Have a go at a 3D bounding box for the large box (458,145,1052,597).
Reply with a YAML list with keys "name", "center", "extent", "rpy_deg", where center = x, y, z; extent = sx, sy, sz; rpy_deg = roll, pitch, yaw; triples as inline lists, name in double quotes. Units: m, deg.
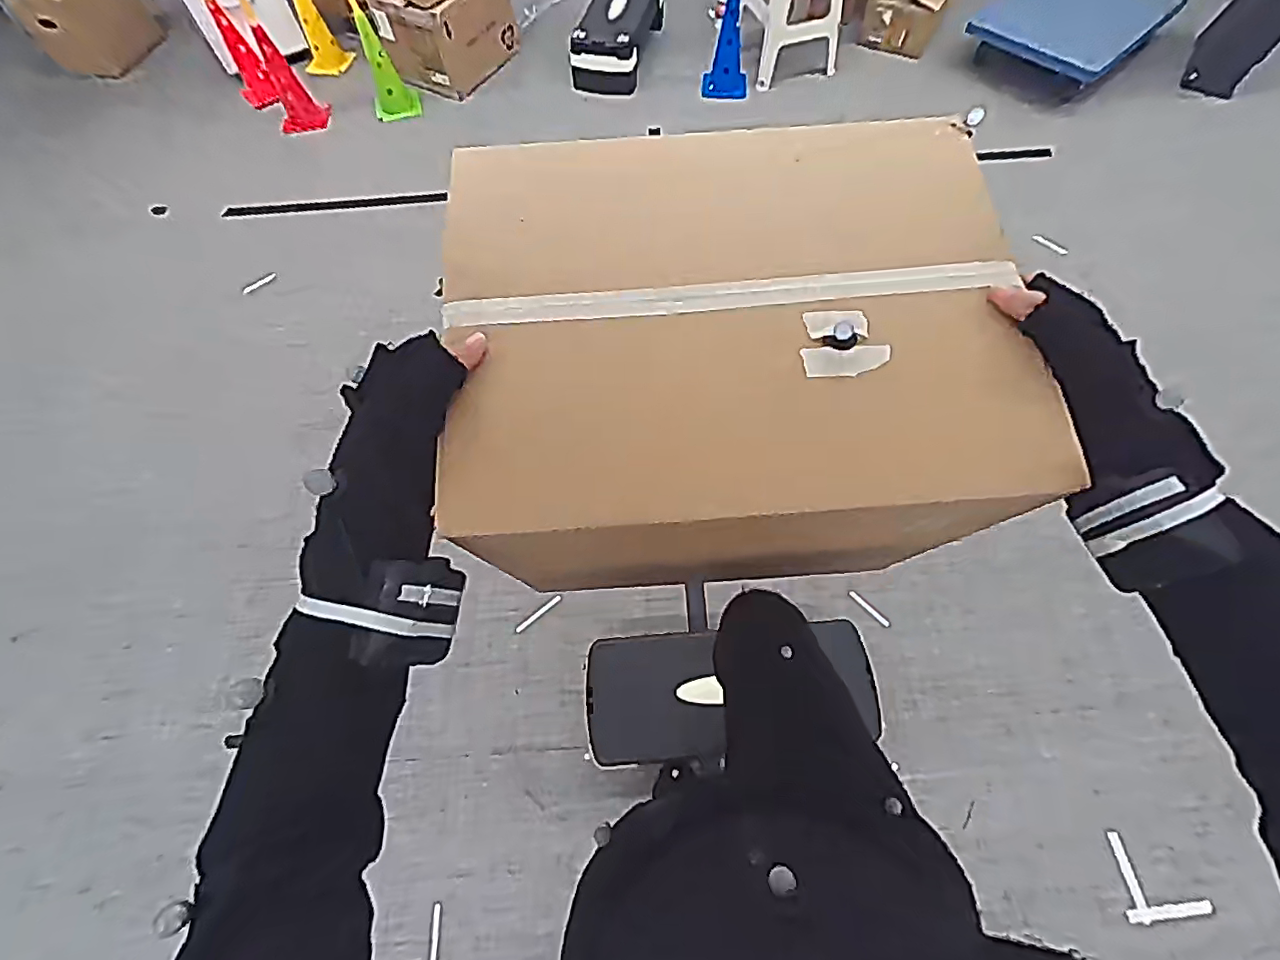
- name: "large box"
  center: [0.065, -0.073, 0.542]
  extent: [0.408, 0.320, 0.320]
  rpy_deg: [-4, 71, -1]
